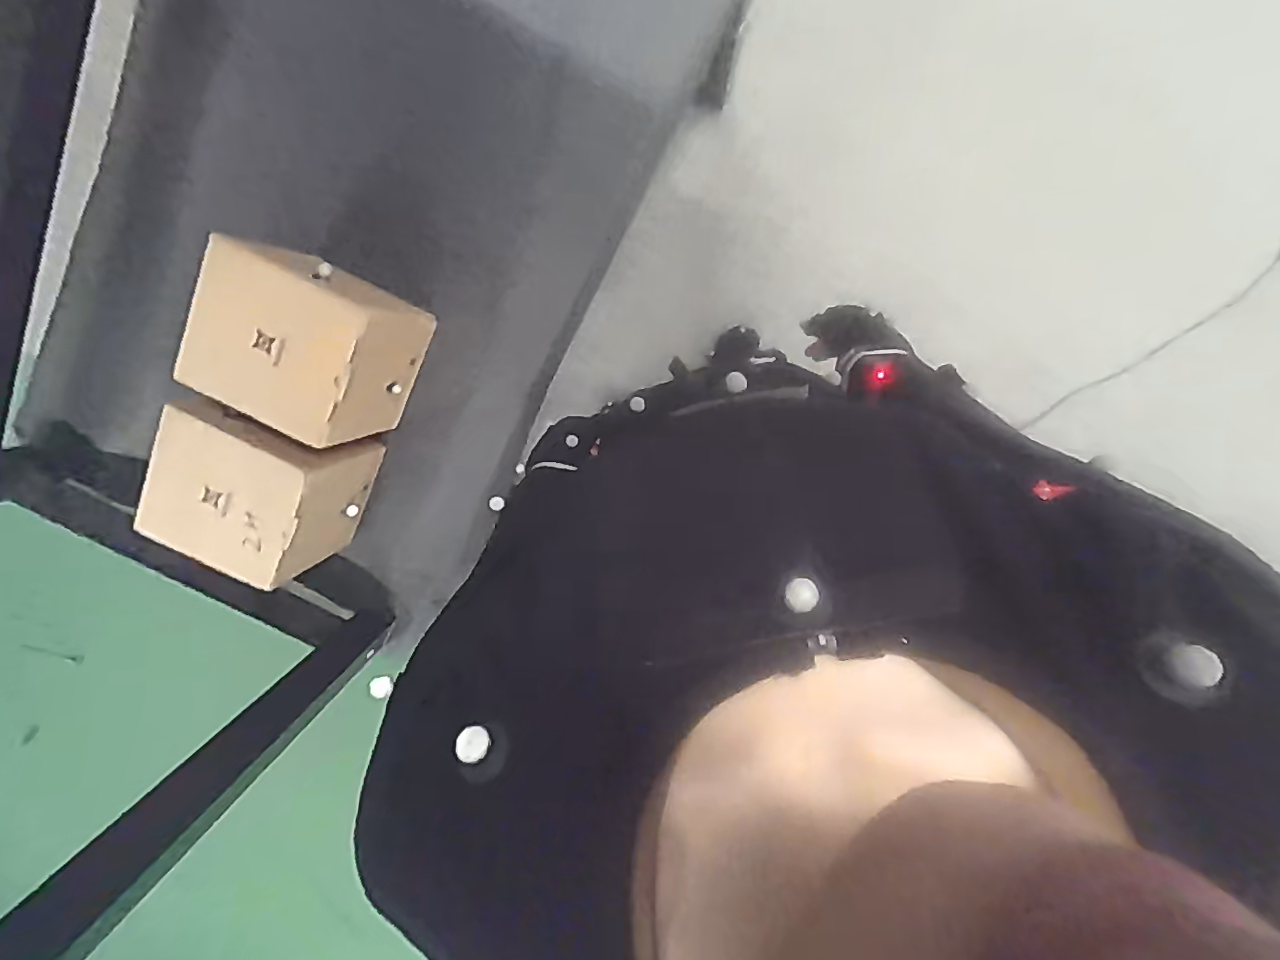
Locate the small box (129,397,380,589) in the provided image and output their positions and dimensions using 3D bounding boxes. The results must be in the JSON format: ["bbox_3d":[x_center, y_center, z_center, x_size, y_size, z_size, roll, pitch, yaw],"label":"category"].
[{"bbox_3d":[-0.475,0.004,0.689,0.179,0.176,0.168,26,104,-3],"label":"small box"}]
